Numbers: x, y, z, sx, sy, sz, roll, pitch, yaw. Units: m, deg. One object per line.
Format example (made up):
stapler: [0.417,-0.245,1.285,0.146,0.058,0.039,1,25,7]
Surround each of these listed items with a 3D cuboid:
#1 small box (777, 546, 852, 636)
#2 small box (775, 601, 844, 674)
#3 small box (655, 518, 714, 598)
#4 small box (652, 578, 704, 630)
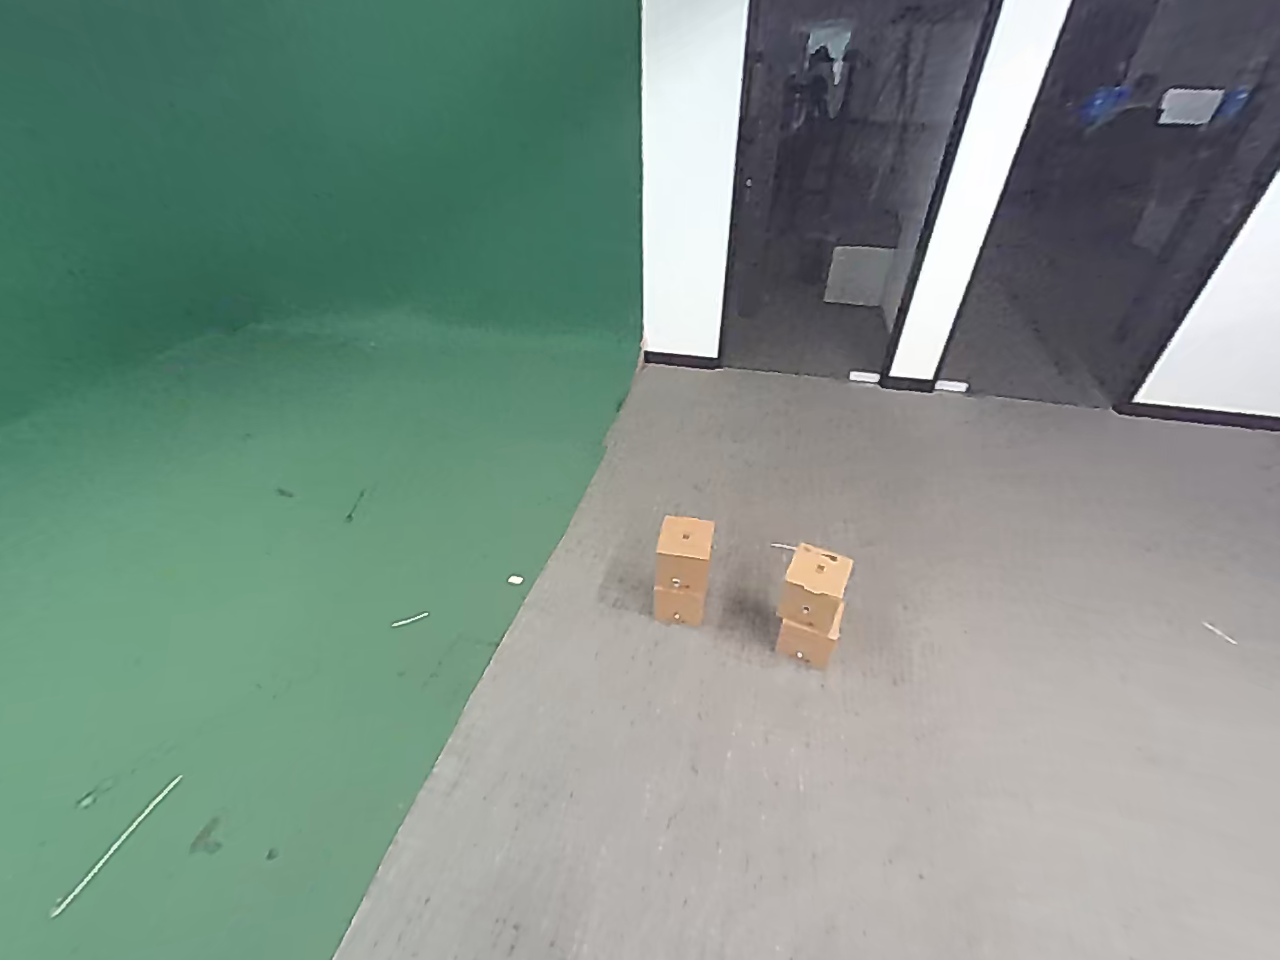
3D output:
small box: [0.520,0.335,1.628,0.168,0.176,0.179,18,42,22]
small box: [0.534,0.474,1.715,0.168,0.176,0.179,15,41,19]
small box: [0.142,0.250,1.740,0.168,0.176,0.179,6,38,9]
small box: [0.135,0.380,1.837,0.168,0.176,0.179,7,38,8]
